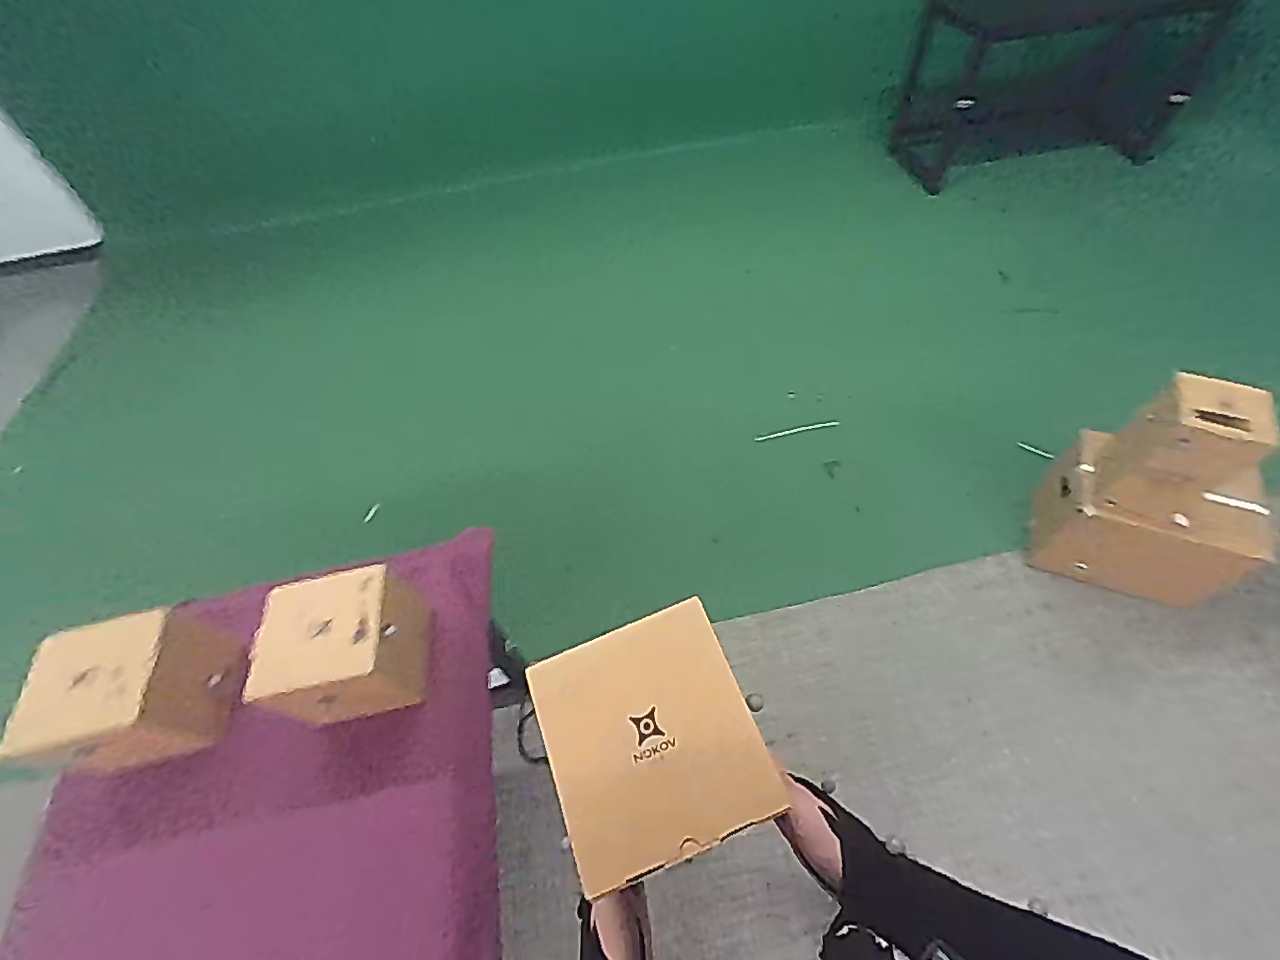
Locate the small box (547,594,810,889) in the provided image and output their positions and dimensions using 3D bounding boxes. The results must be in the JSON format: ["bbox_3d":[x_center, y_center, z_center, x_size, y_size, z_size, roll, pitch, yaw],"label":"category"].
[{"bbox_3d":[0.029,0.234,0.502,0.168,0.176,0.179,-21,62,-5],"label":"small box"}]

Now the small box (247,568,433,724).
[{"bbox_3d":[-0.440,0.258,0.825,0.179,0.176,0.168,-13,55,0],"label":"small box"}]

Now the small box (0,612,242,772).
[{"bbox_3d":[-0.753,0.322,0.809,0.179,0.176,0.168,-13,56,-4],"label":"small box"}]

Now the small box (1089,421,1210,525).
[{"bbox_3d":[1.280,-0.013,1.371,0.168,0.176,0.179,21,58,19],"label":"small box"}]
